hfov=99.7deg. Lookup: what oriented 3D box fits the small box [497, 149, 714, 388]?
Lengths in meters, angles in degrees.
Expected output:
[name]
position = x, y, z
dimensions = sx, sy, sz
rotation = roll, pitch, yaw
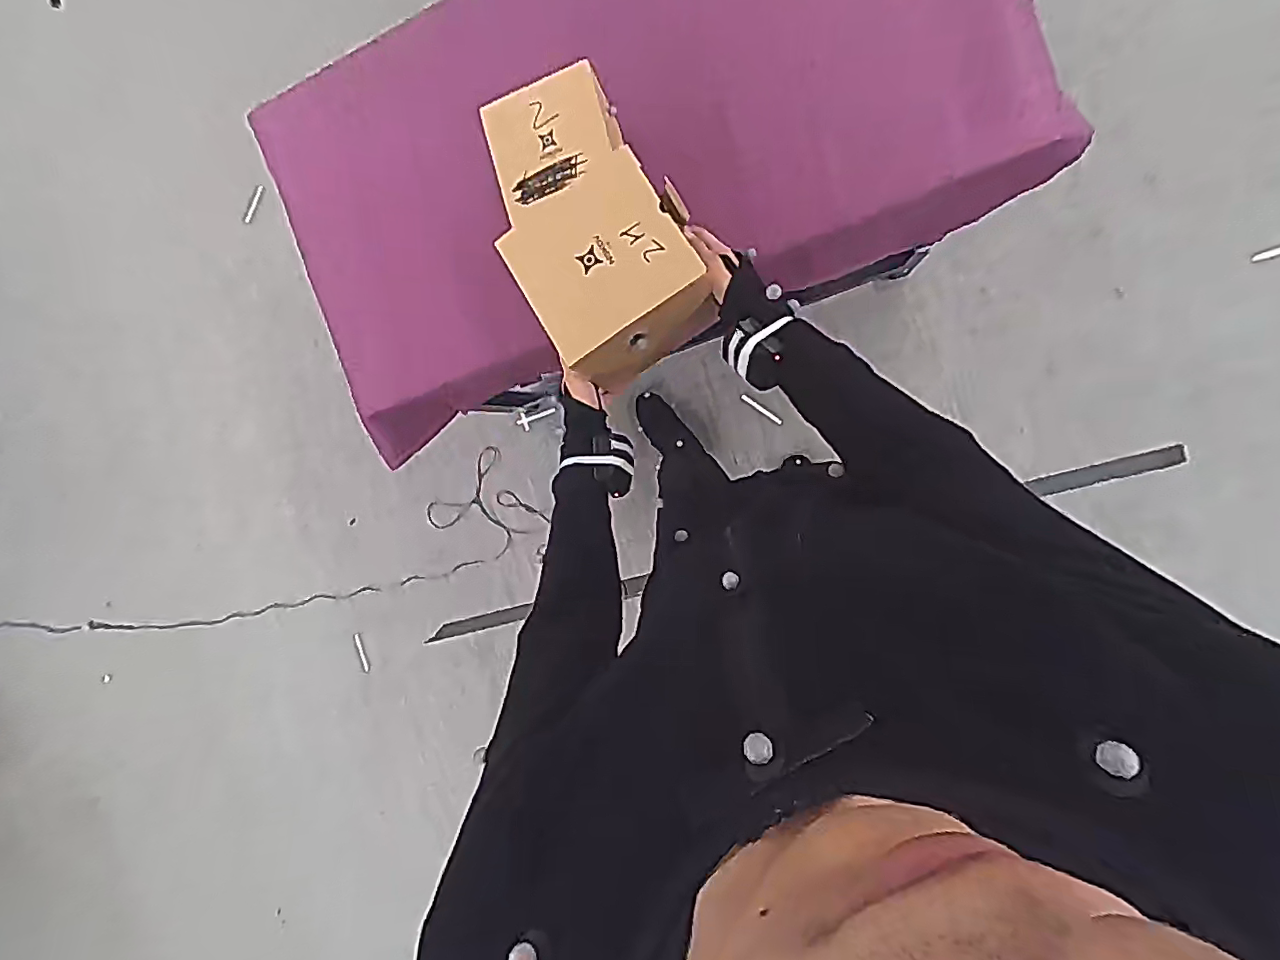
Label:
[small box]
position = -0.028, -0.228, 0.640
dimensions = 0.179, 0.176, 0.168
rotation = -32, 84, 10
